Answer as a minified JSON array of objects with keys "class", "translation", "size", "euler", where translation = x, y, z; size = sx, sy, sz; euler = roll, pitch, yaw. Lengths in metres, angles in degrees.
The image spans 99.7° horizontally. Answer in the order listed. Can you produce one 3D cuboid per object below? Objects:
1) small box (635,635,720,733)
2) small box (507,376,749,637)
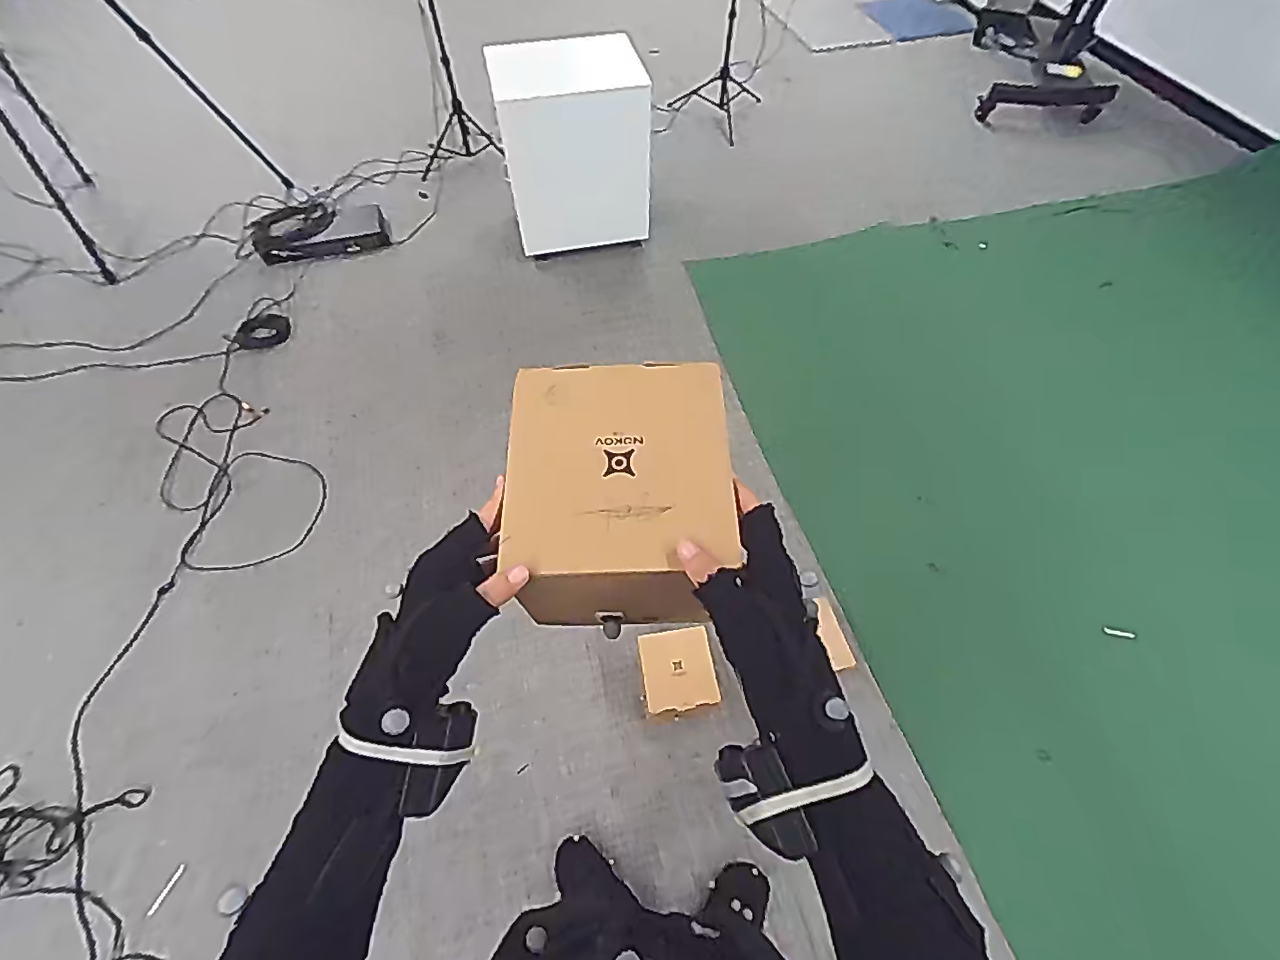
[{"class":"small box","translation":[0.082,0.493,1.302],"size":[0.168,0.176,0.179],"euler":[-8,59,-6]},{"class":"small box","translation":[-0.009,0.030,0.470],"size":[0.168,0.176,0.179],"euler":[-1,62,0]}]
